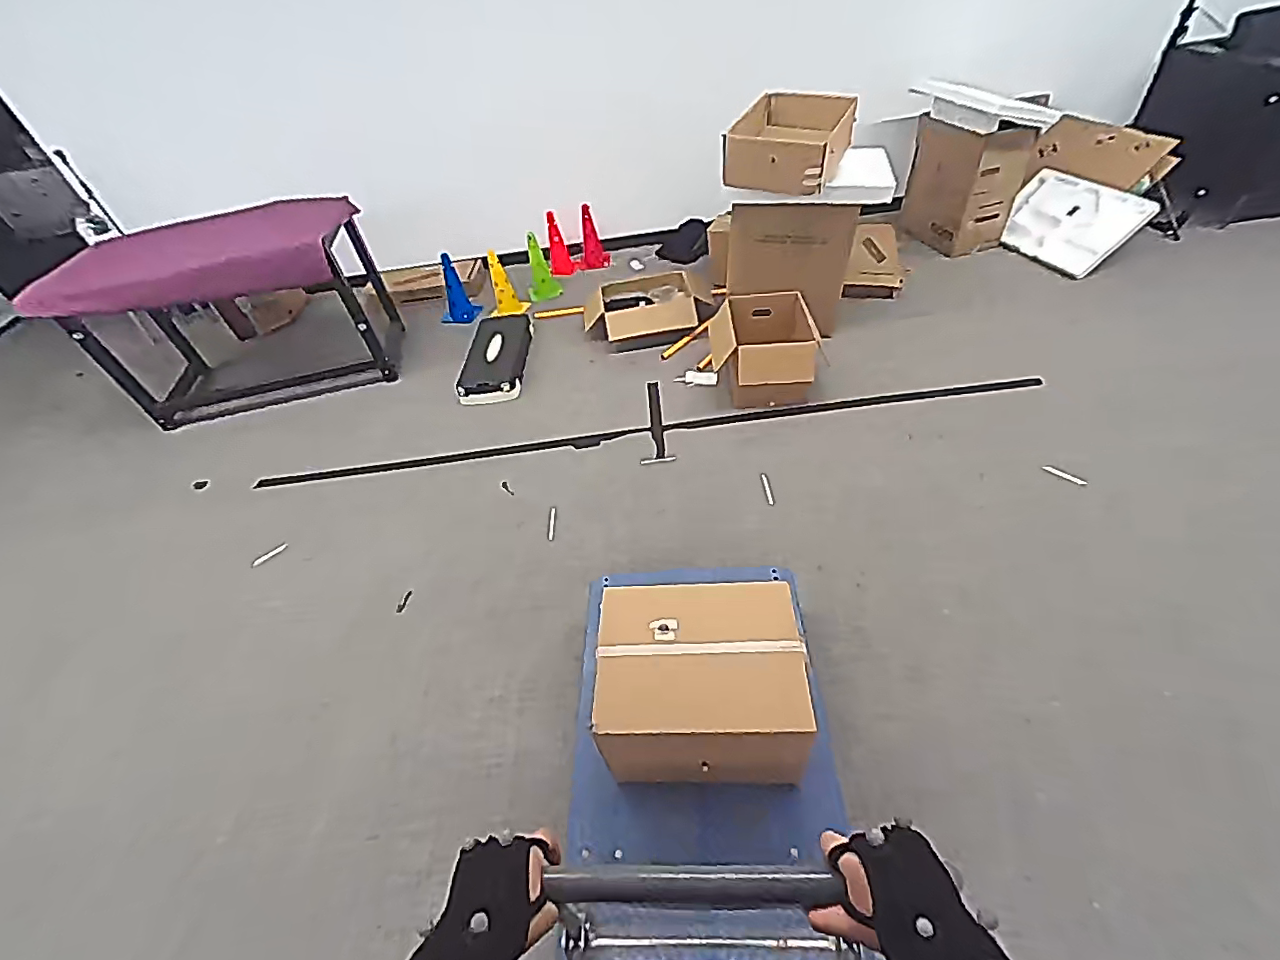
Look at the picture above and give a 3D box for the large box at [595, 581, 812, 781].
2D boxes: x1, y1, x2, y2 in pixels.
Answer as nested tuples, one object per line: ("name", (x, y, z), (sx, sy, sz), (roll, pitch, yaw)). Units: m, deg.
("large box", (0.134, 0.449, 1.192), (0.408, 0.320, 0.320), (-5, 44, 6))
